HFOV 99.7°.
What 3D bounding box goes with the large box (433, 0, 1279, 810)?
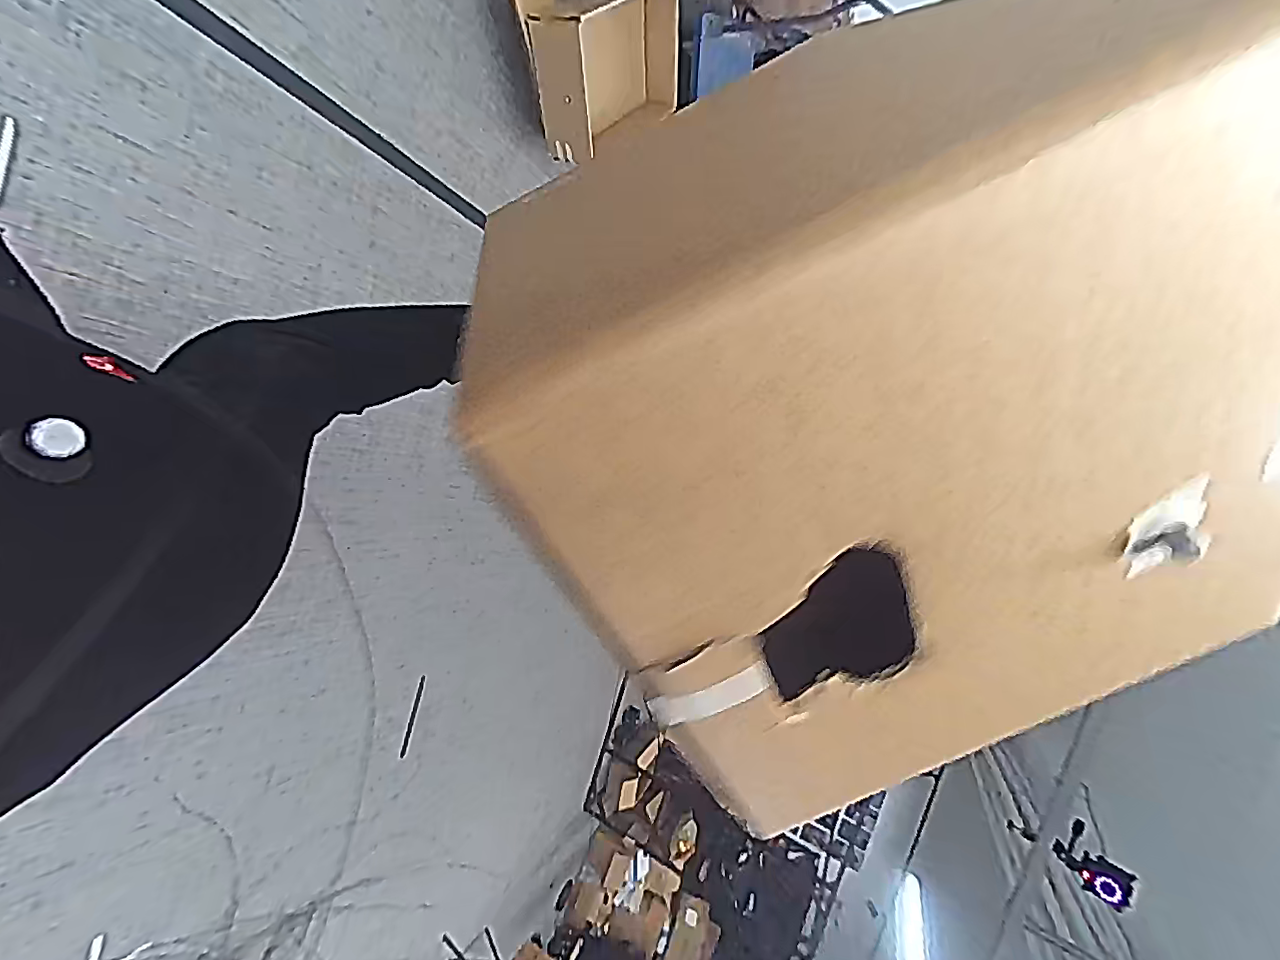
[{"bbox_3d":[0.102,-0.076,0.388,0.408,0.320,0.320,-107,171,-55],"label":"large box"}]
